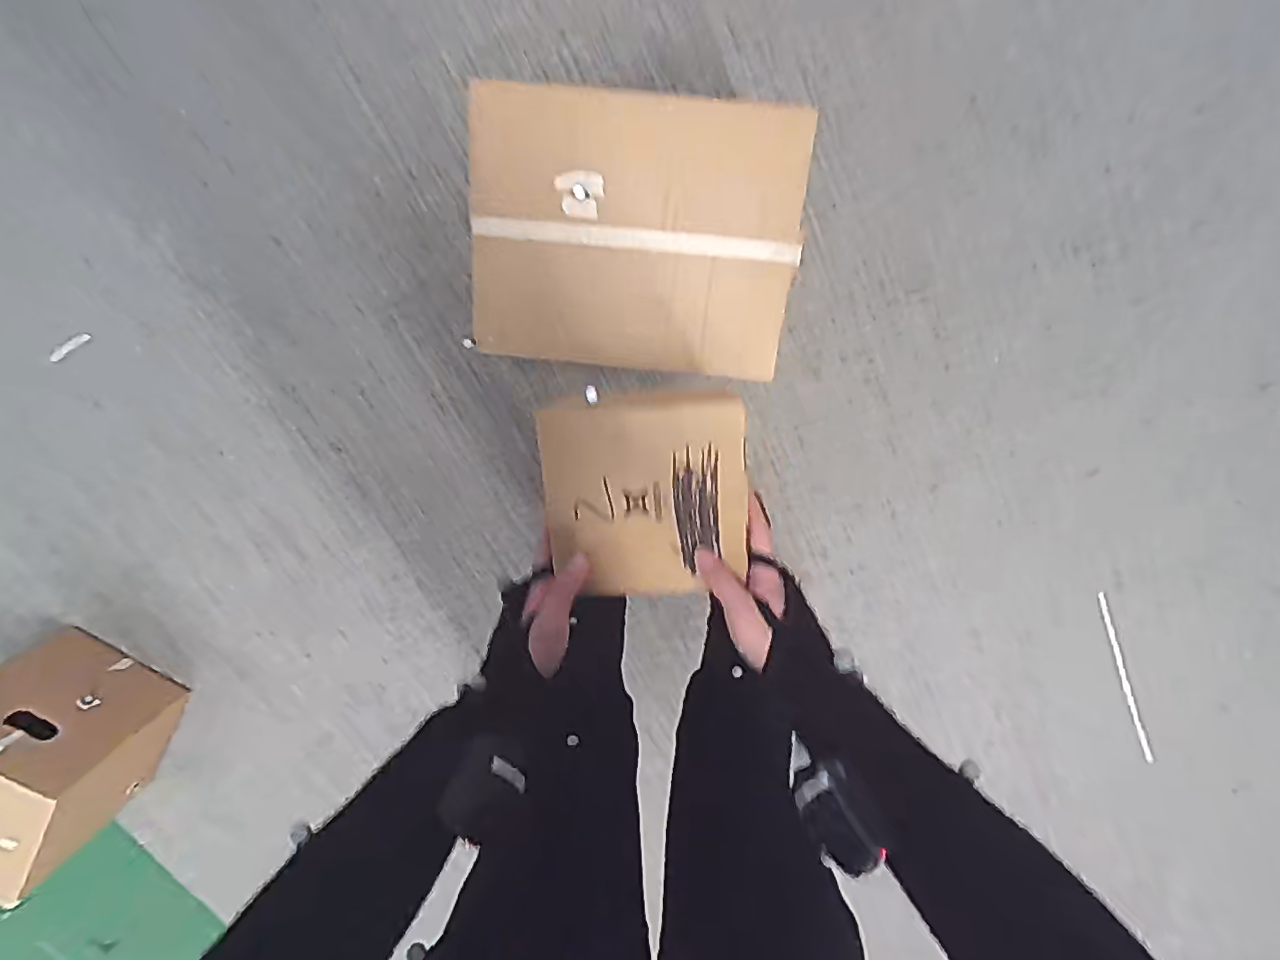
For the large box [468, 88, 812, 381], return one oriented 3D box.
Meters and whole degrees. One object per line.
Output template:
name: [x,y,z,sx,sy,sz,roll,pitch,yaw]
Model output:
large box: [0.000,-0.340,0.804,0.408,0.320,0.320,6,109,2]
